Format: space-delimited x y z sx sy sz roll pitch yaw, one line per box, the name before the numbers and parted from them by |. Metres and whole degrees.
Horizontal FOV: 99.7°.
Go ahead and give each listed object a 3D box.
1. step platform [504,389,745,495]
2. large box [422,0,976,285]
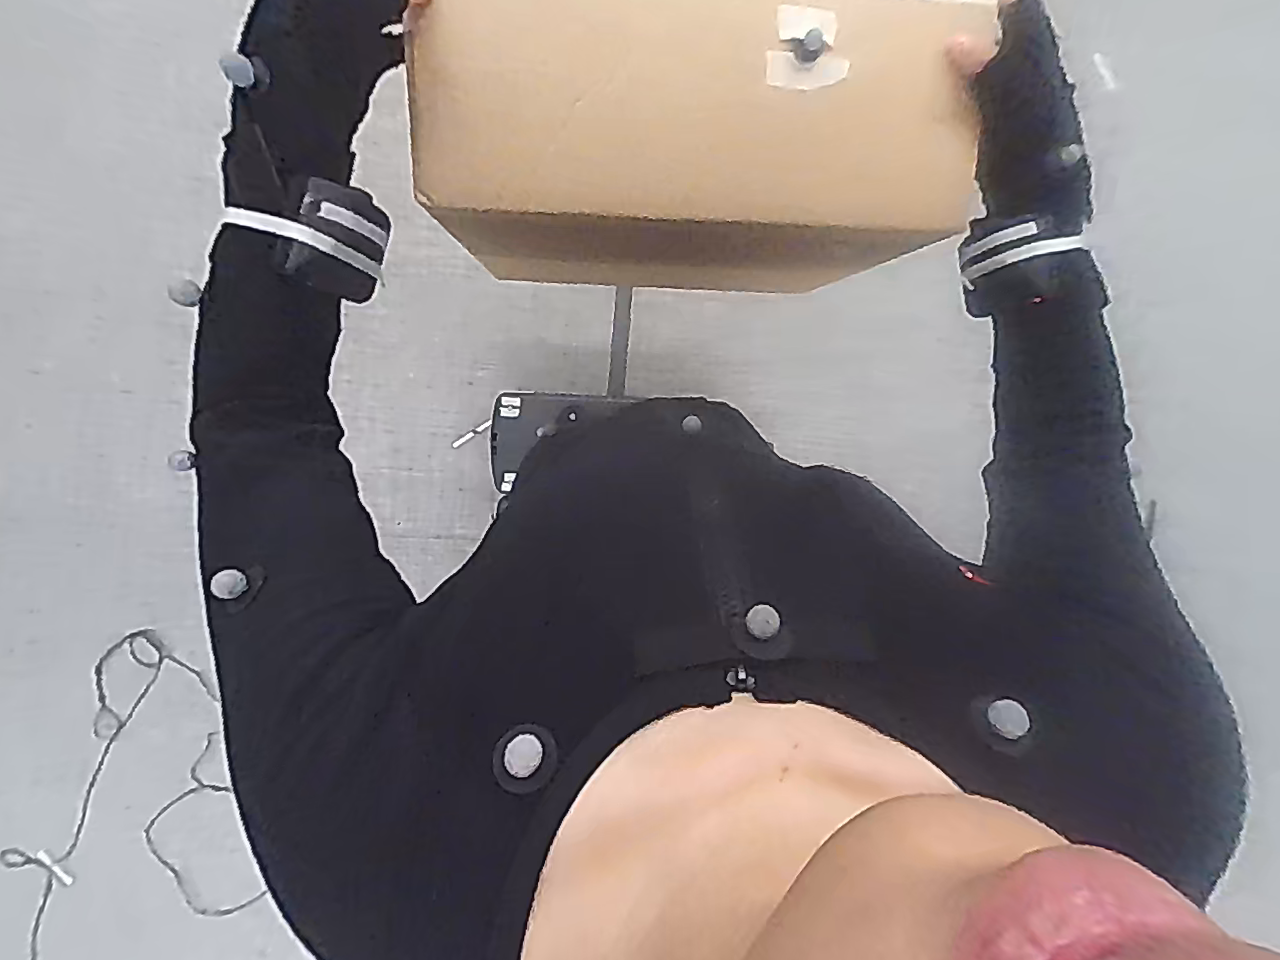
step platform | -0.042 -0.109 1.564 0.684 0.204 0.286 1 97 -6
large box | 0.033 -0.378 0.523 0.408 0.320 0.320 0 101 -6
